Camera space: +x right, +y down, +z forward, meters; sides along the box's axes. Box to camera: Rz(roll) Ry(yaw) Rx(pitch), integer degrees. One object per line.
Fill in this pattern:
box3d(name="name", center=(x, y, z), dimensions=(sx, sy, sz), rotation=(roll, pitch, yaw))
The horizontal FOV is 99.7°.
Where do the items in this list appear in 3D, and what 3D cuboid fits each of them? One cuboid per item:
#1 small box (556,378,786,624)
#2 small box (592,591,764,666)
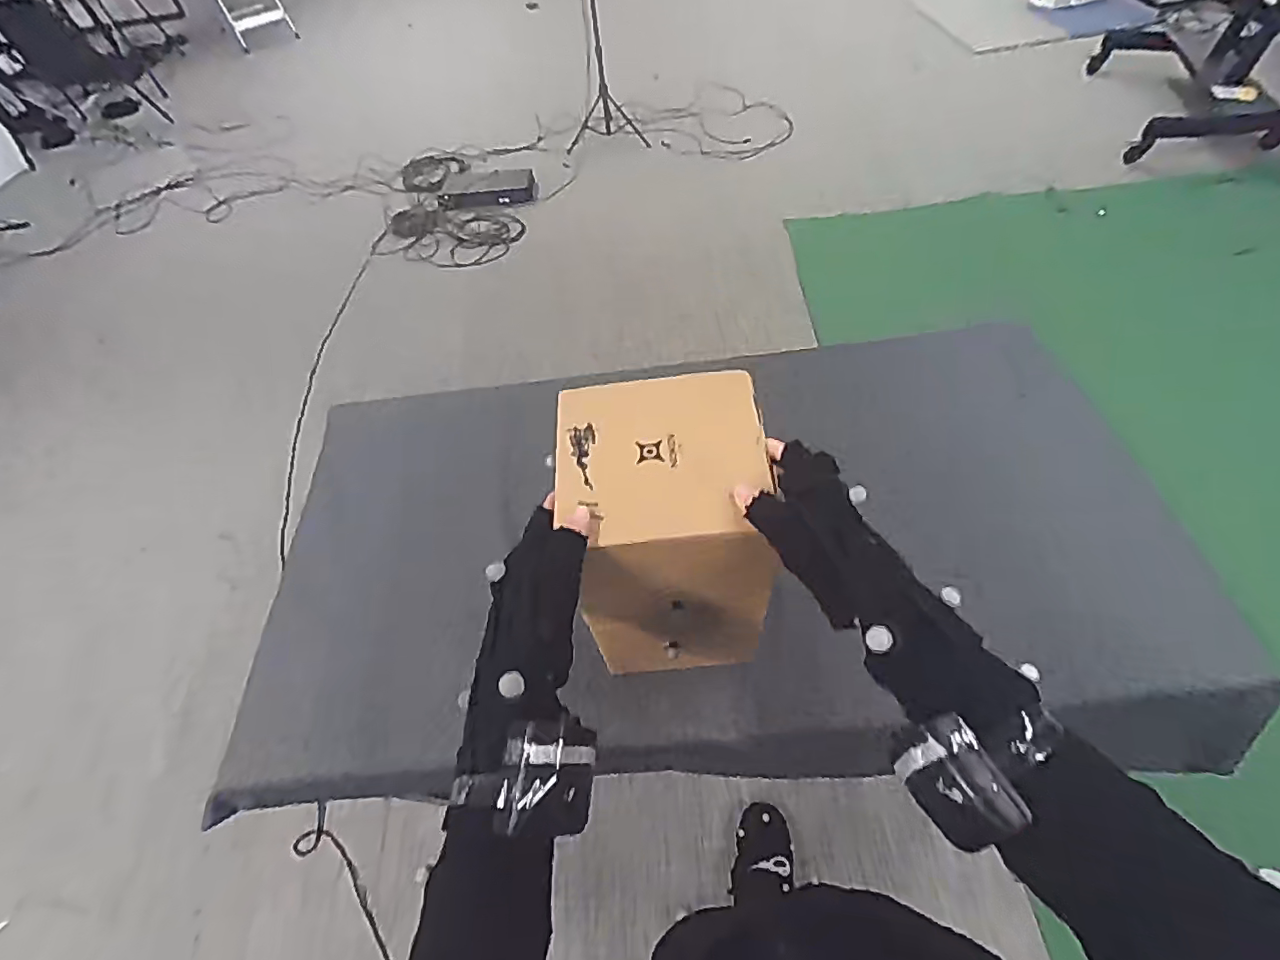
box3d(name="small box", center=(0.025, 0.026, 0.512), dimensions=(0.179, 0.176, 0.168), rotation=(-5, 55, 3))
box3d(name="small box", center=(0.042, 0.114, 0.646), dimensions=(0.179, 0.176, 0.168), rotation=(-4, 53, 4))
